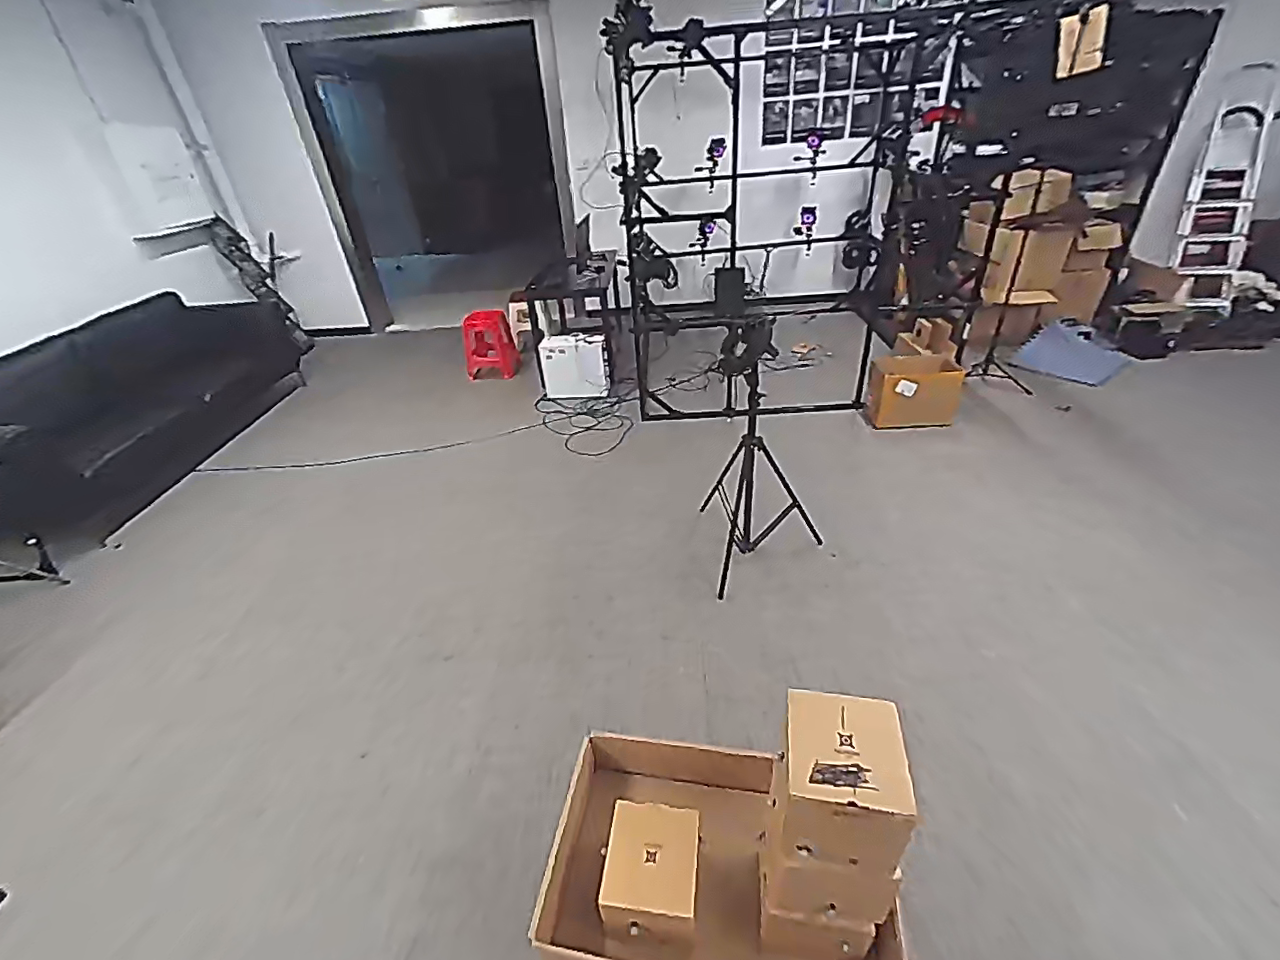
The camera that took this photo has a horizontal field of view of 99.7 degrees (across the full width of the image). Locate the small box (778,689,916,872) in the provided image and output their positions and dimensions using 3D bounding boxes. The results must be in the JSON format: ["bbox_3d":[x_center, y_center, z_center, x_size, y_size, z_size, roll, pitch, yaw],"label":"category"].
[{"bbox_3d":[0.301,0.453,0.820,0.168,0.176,0.179,4,33,12],"label":"small box"}]

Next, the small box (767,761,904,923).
[{"bbox_3d":[0.310,0.600,0.897,0.179,0.176,0.168,2,33,8],"label":"small box"}]

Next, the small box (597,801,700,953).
[{"bbox_3d":[0.025,0.744,1.015,0.168,0.176,0.179,2,33,9],"label":"small box"}]
